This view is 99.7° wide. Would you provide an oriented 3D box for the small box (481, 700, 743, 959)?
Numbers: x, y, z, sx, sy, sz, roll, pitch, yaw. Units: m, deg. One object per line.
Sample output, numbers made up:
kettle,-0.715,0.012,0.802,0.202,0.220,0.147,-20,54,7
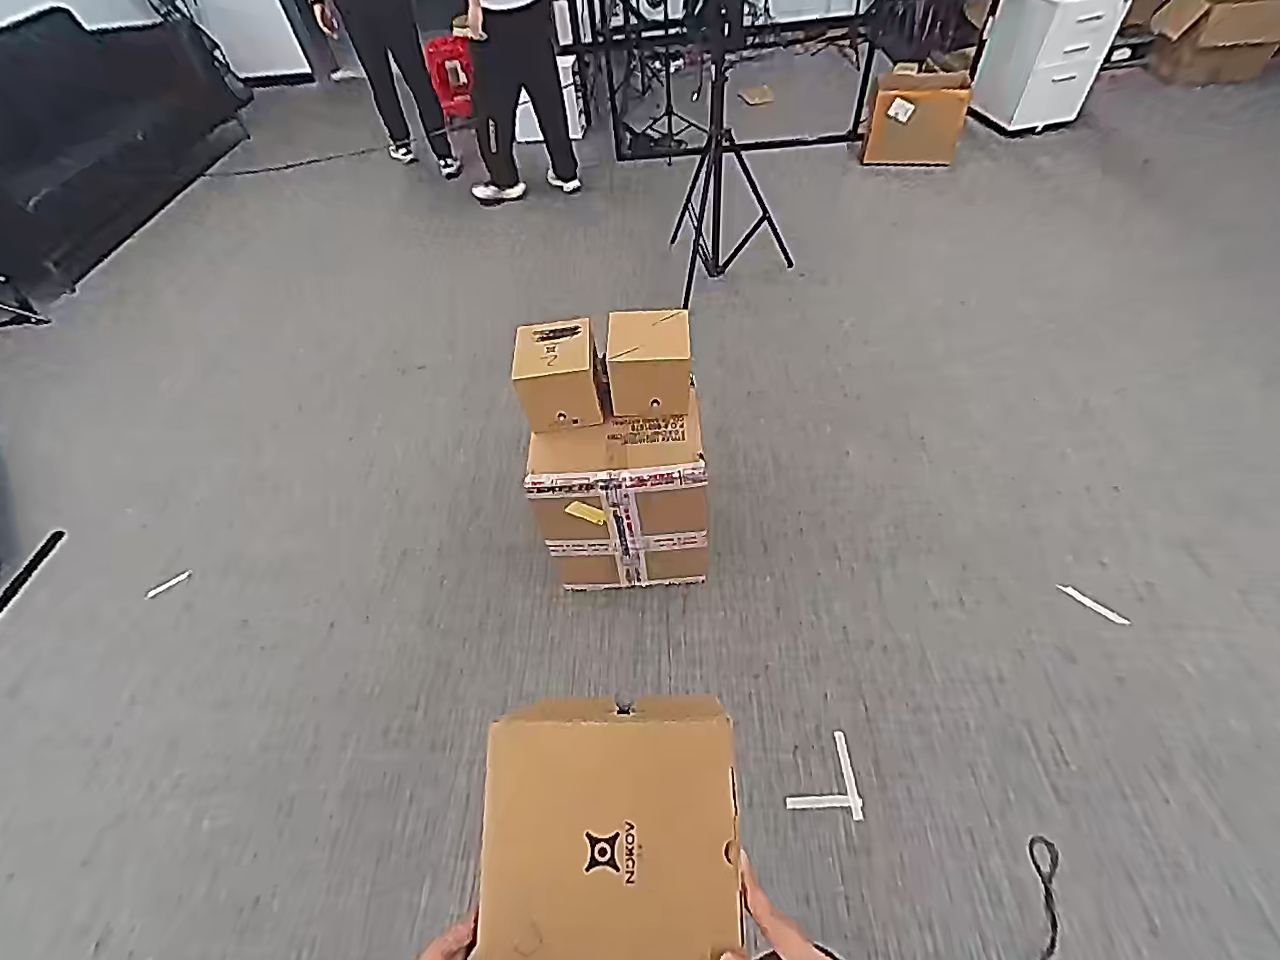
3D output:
small box,-0.015,0.279,0.449,0.179,0.176,0.168,-2,72,2
